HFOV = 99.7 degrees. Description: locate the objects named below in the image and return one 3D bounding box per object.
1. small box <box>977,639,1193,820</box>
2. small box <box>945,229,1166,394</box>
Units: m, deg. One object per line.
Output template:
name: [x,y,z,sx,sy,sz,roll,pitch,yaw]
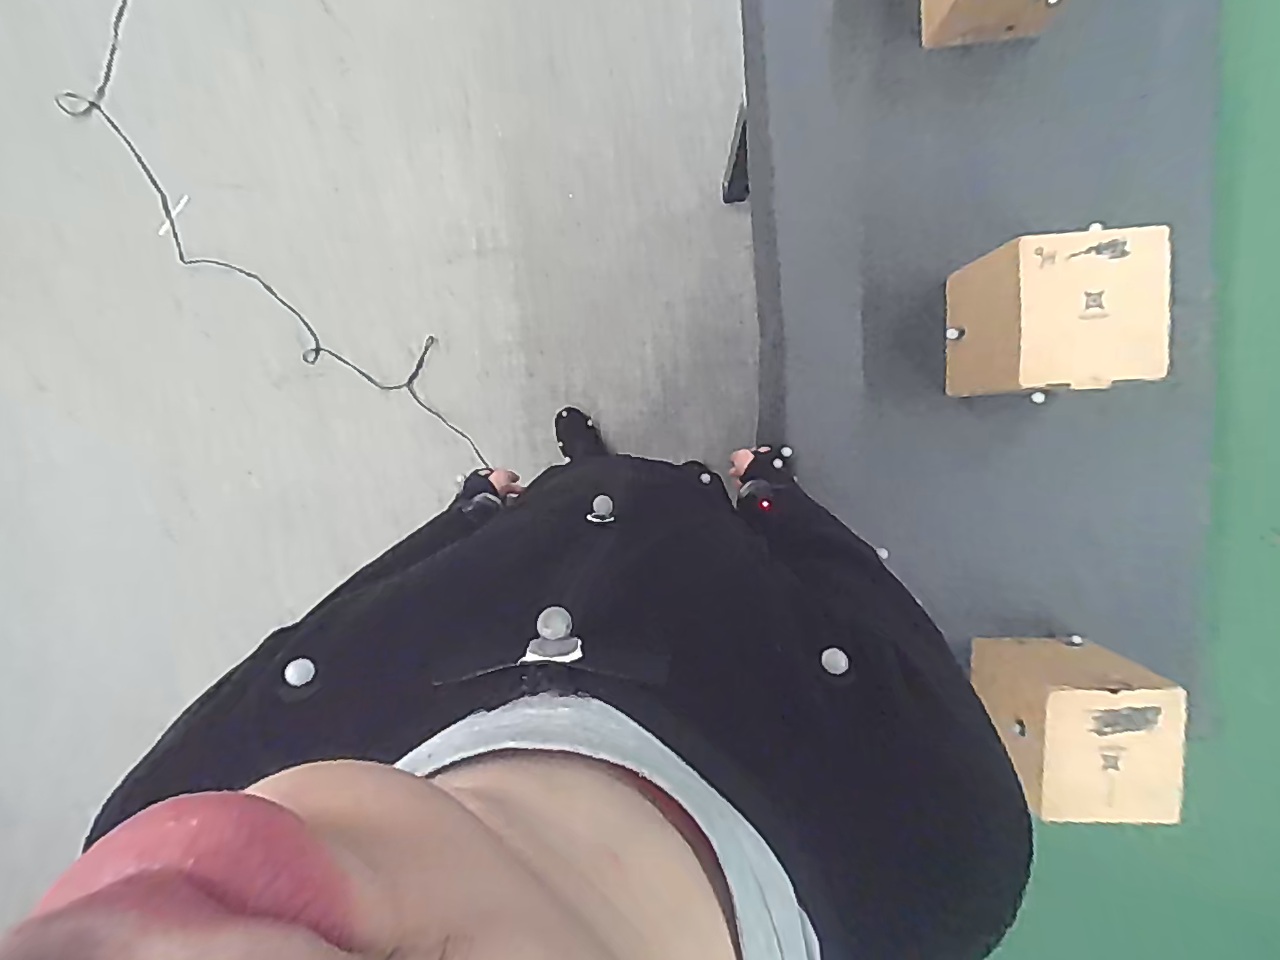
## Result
small box: [0.595,0.328,0.745,0.168,0.176,0.179,-2,95,1]
small box: [0.524,-0.205,0.707,0.168,0.176,0.179,-4,95,1]
